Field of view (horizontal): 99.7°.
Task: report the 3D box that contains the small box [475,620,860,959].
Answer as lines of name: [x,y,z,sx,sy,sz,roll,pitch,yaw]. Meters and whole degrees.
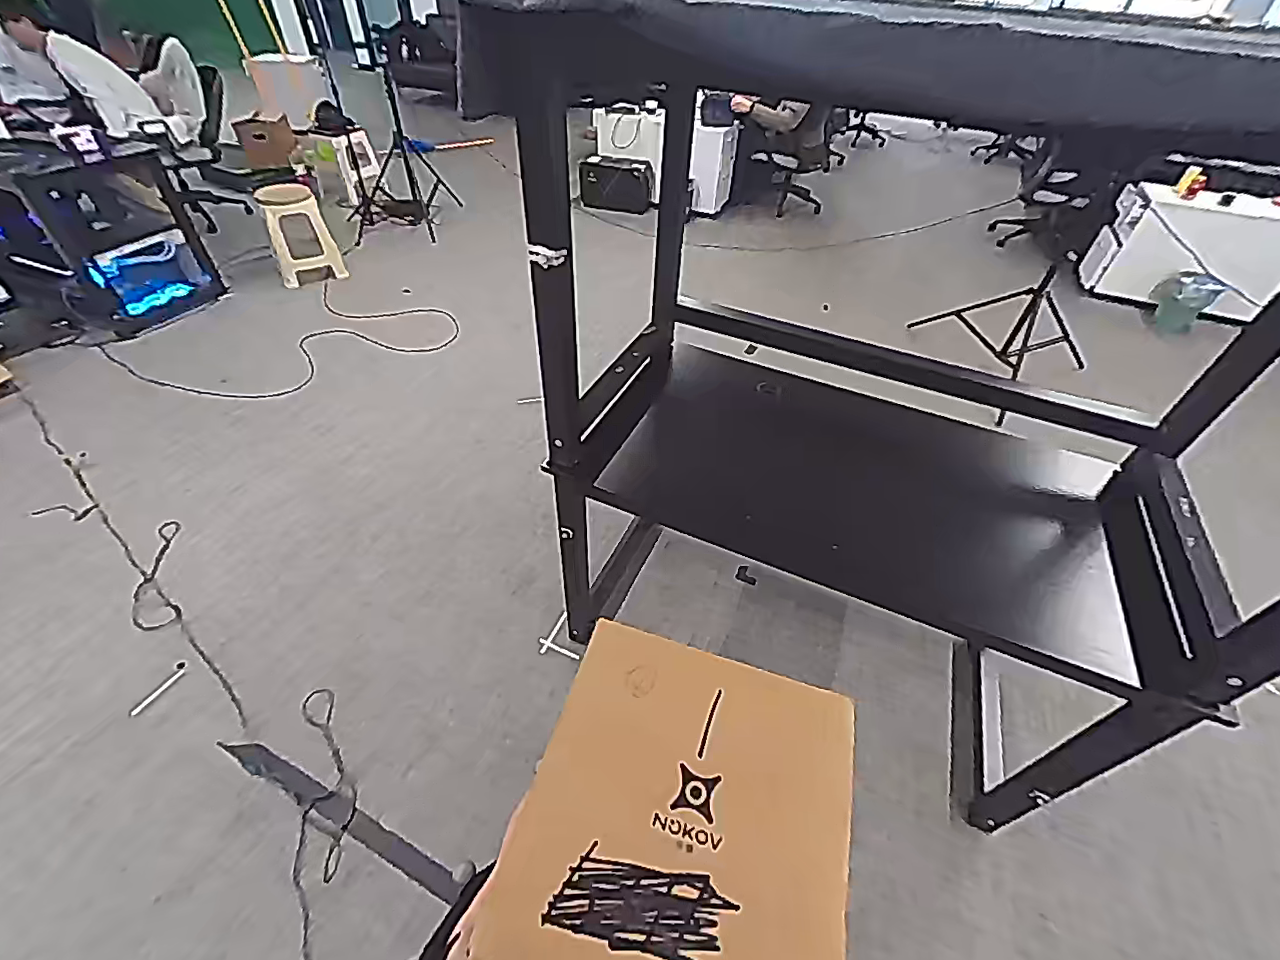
small box: [0.024,0.225,0.341,0.168,0.176,0.179,16,49,9]
